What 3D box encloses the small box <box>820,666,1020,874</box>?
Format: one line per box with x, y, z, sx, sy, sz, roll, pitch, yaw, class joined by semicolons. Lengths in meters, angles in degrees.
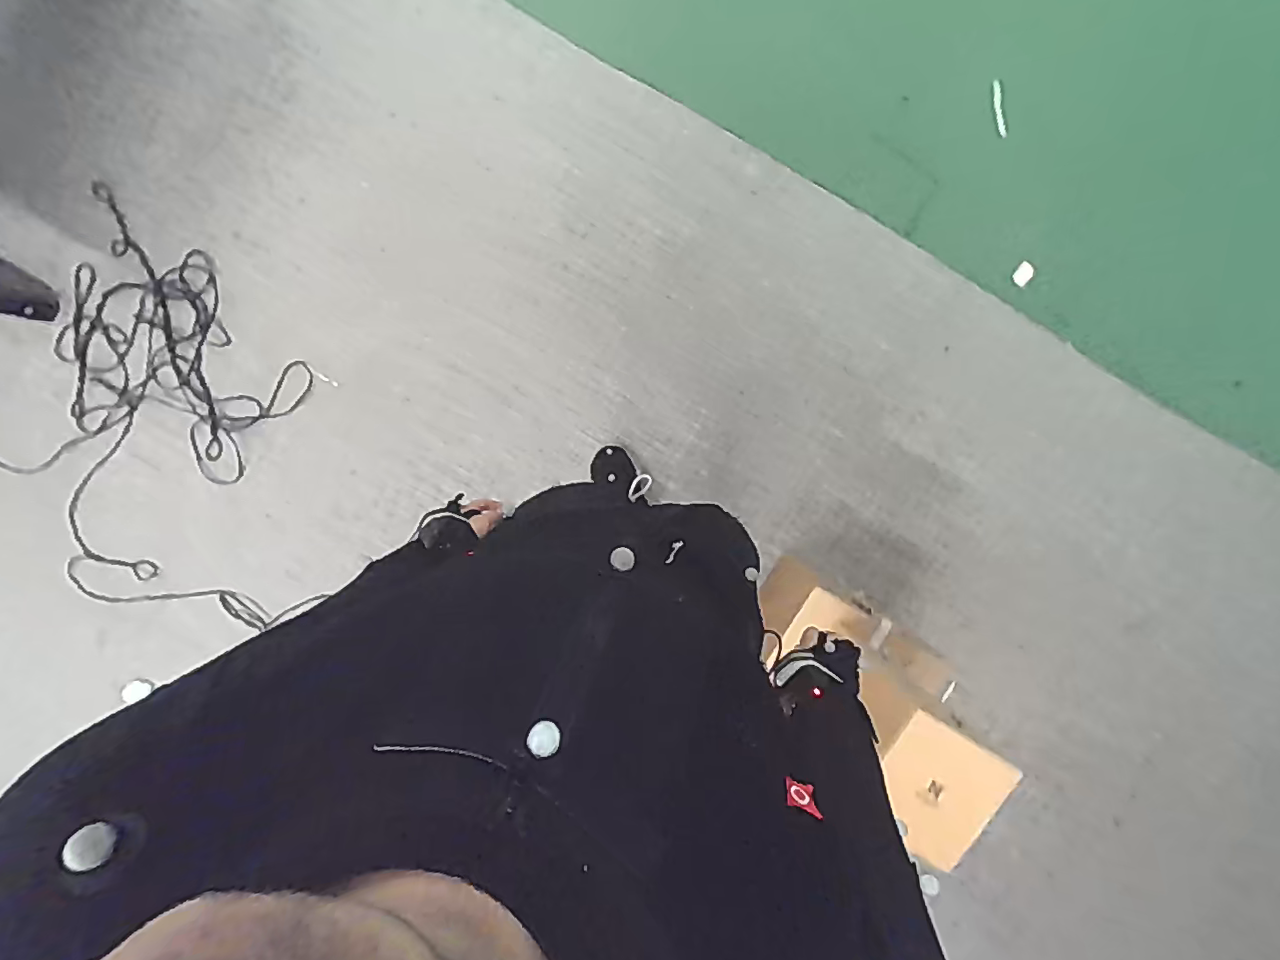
0.394;0.411;0.800;0.168;0.176;0.179;32;96;0;small box

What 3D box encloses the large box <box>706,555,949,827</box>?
0.383;0.439;1.213;0.320;0.320;0.408;31;98;1;large box
